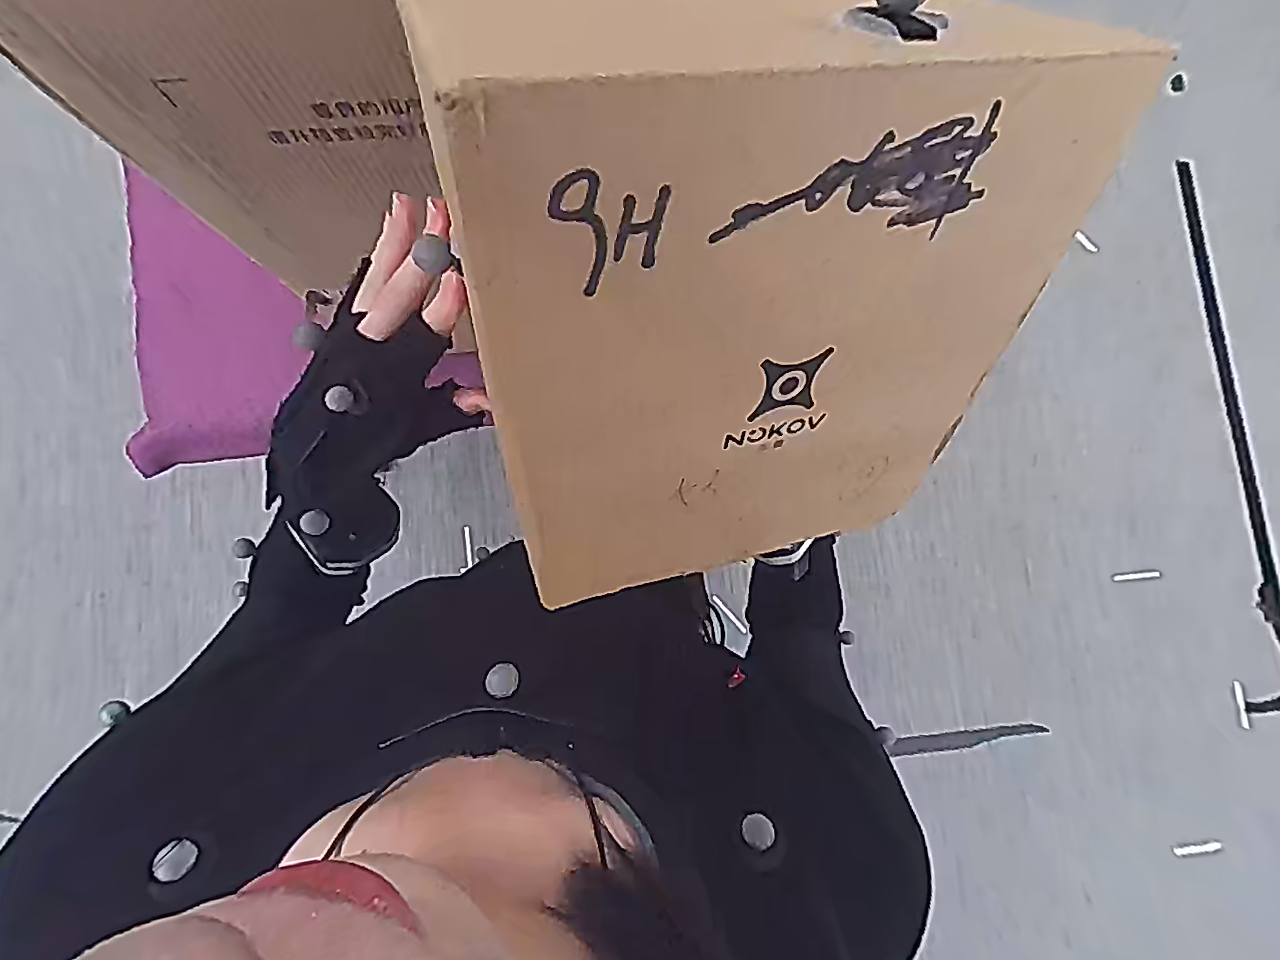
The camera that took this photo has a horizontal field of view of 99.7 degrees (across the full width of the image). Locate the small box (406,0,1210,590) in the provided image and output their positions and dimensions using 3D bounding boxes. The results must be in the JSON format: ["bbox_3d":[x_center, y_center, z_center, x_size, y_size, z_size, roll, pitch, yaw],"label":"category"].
[{"bbox_3d":[0.017,-0.089,0.208,0.168,0.179,0.176,-13,52,-15],"label":"small box"}]
